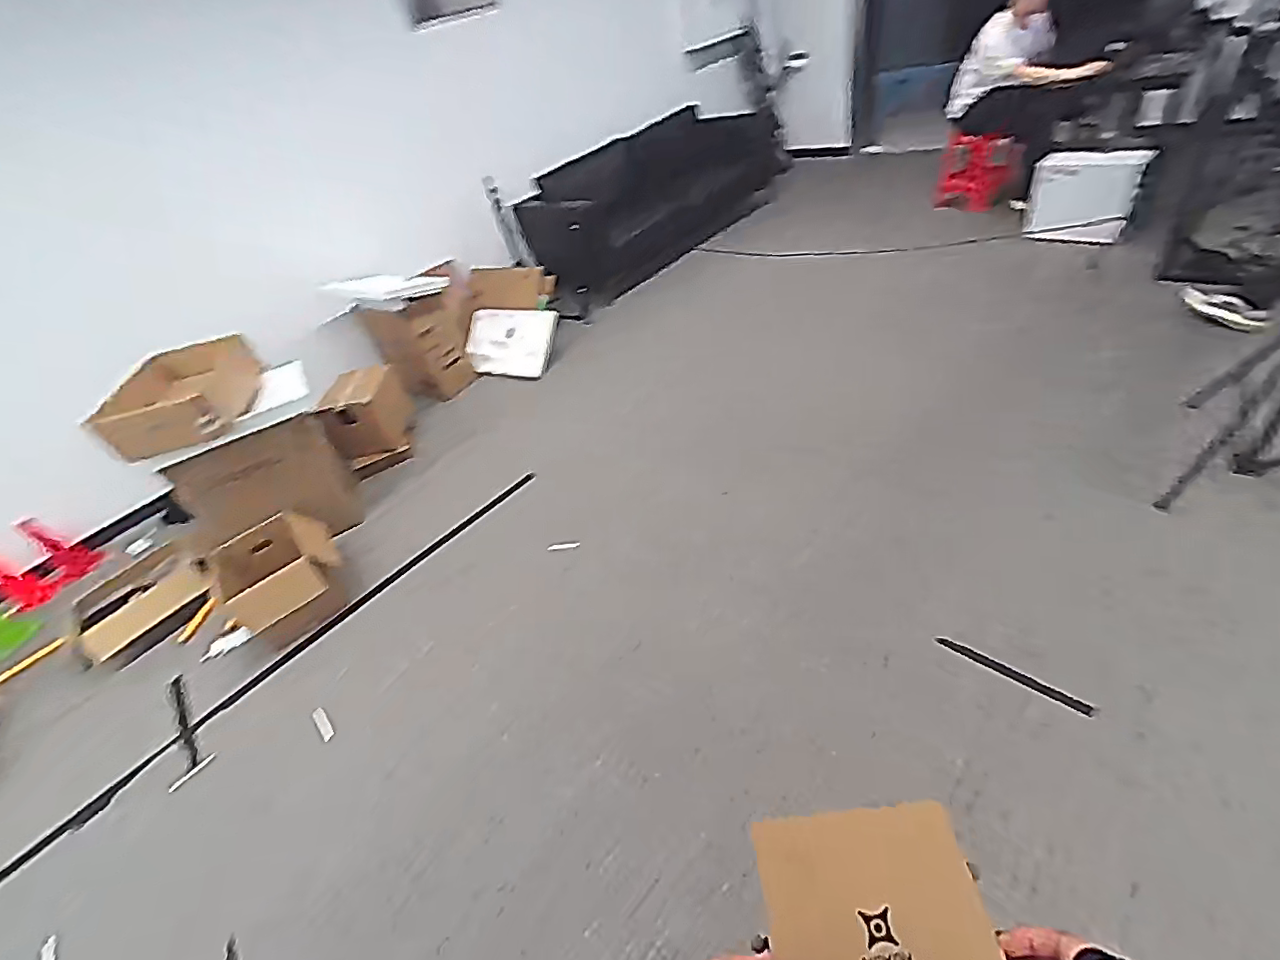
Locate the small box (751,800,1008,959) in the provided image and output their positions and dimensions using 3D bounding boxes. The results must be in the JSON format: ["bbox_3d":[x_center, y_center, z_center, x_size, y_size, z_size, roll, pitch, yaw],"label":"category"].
[{"bbox_3d":[0.193,0.399,0.453,0.168,0.176,0.179,-11,43,4],"label":"small box"}]
